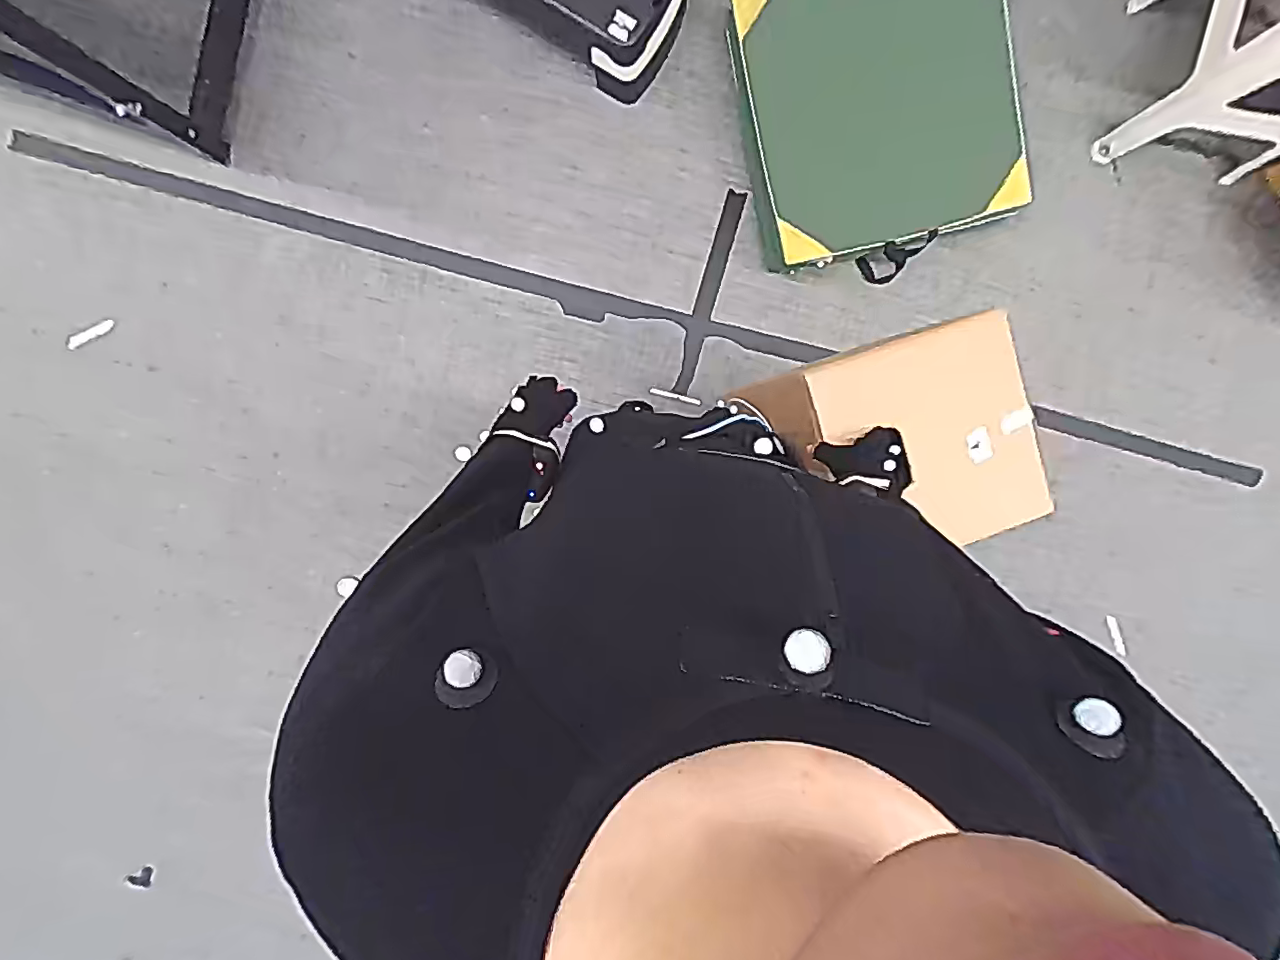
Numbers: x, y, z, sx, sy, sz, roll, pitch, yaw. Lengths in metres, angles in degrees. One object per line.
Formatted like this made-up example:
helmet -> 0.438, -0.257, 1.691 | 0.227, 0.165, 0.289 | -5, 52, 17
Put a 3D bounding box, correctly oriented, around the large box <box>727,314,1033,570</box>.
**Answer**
large box -> 0.389, -0.071, 0.975 | 0.320, 0.408, 0.320 | -16, 97, -4
